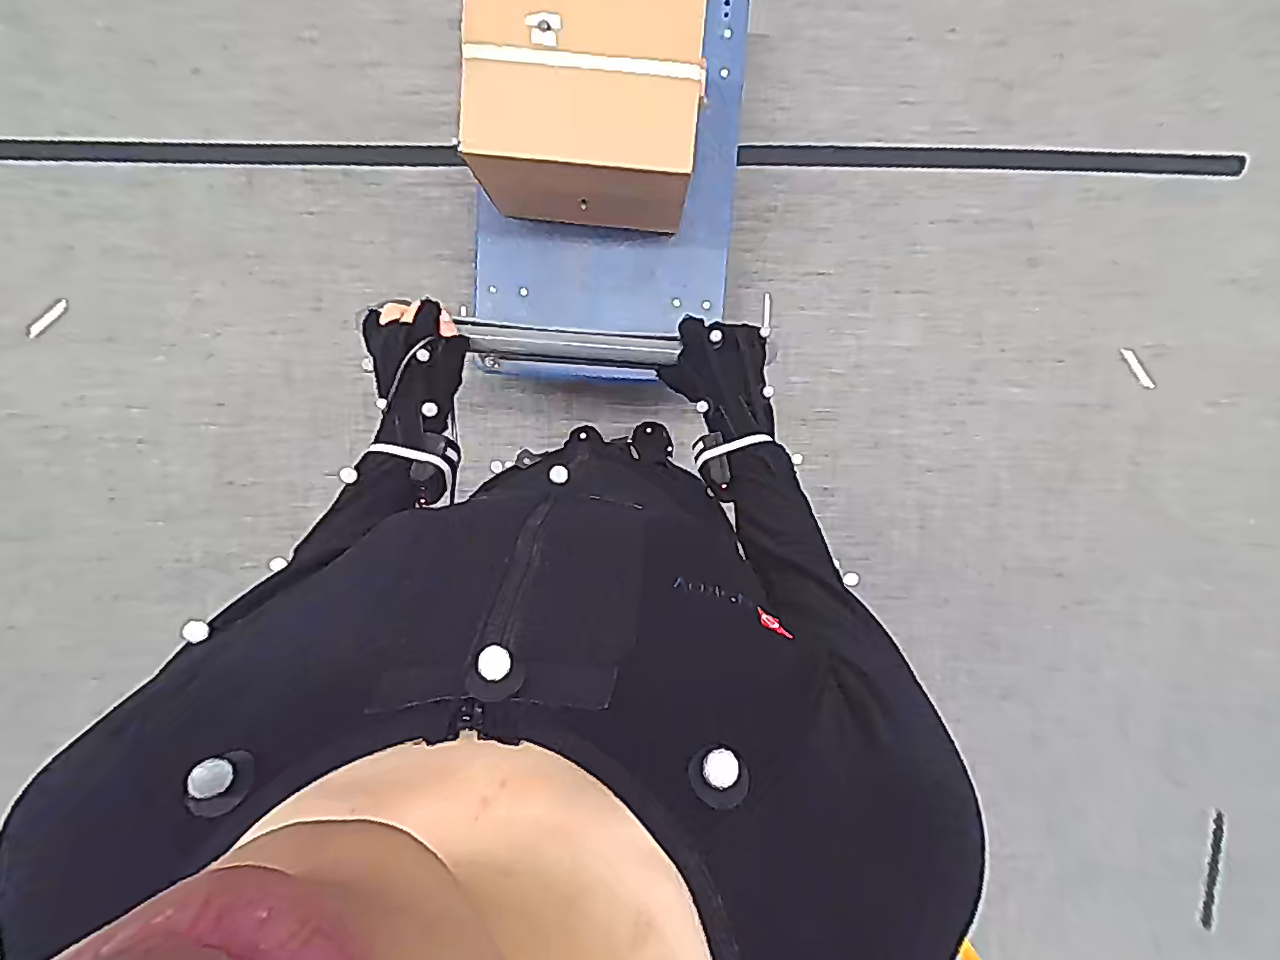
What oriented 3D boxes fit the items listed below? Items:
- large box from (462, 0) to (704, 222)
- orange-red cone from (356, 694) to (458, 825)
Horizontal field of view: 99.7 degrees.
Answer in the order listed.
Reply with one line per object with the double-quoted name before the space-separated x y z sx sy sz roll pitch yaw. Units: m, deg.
"large box" -0.097 -0.724 1.058 0.408 0.320 0.320 5 97 -1
"orange-red cone" -0.624 0.734 1.383 0.198 0.360 0.199 9 96 -3
